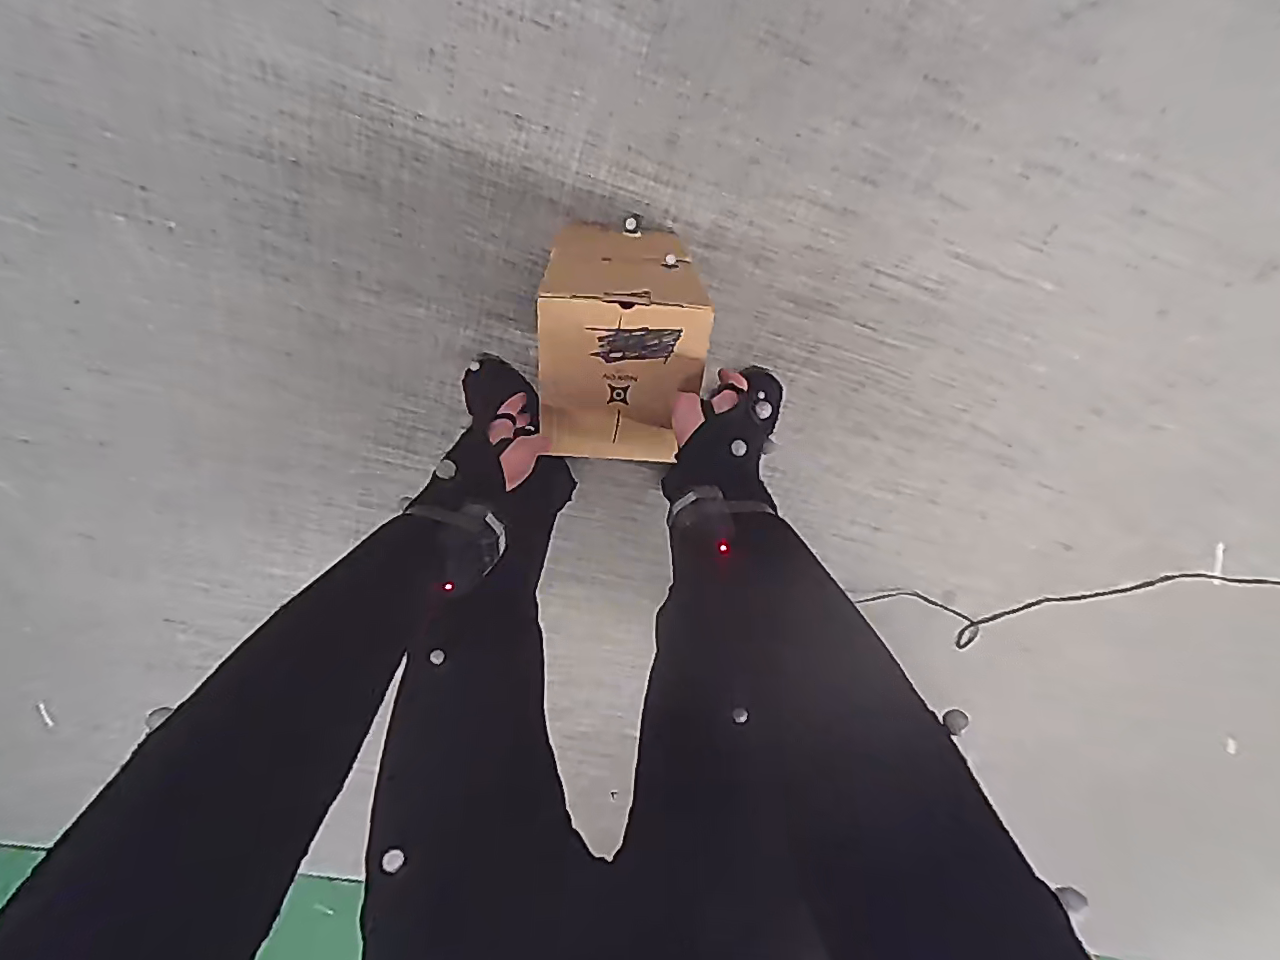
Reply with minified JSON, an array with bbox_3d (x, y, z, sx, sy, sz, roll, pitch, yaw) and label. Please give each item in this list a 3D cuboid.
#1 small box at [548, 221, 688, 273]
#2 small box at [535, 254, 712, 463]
[{"bbox_3d":[-0.030,-0.237,0.733,0.168,0.176,0.179,2,124,-3],"label":"small box"},{"bbox_3d":[-0.023,-0.139,0.601,0.168,0.176,0.179,3,126,-3],"label":"small box"}]
